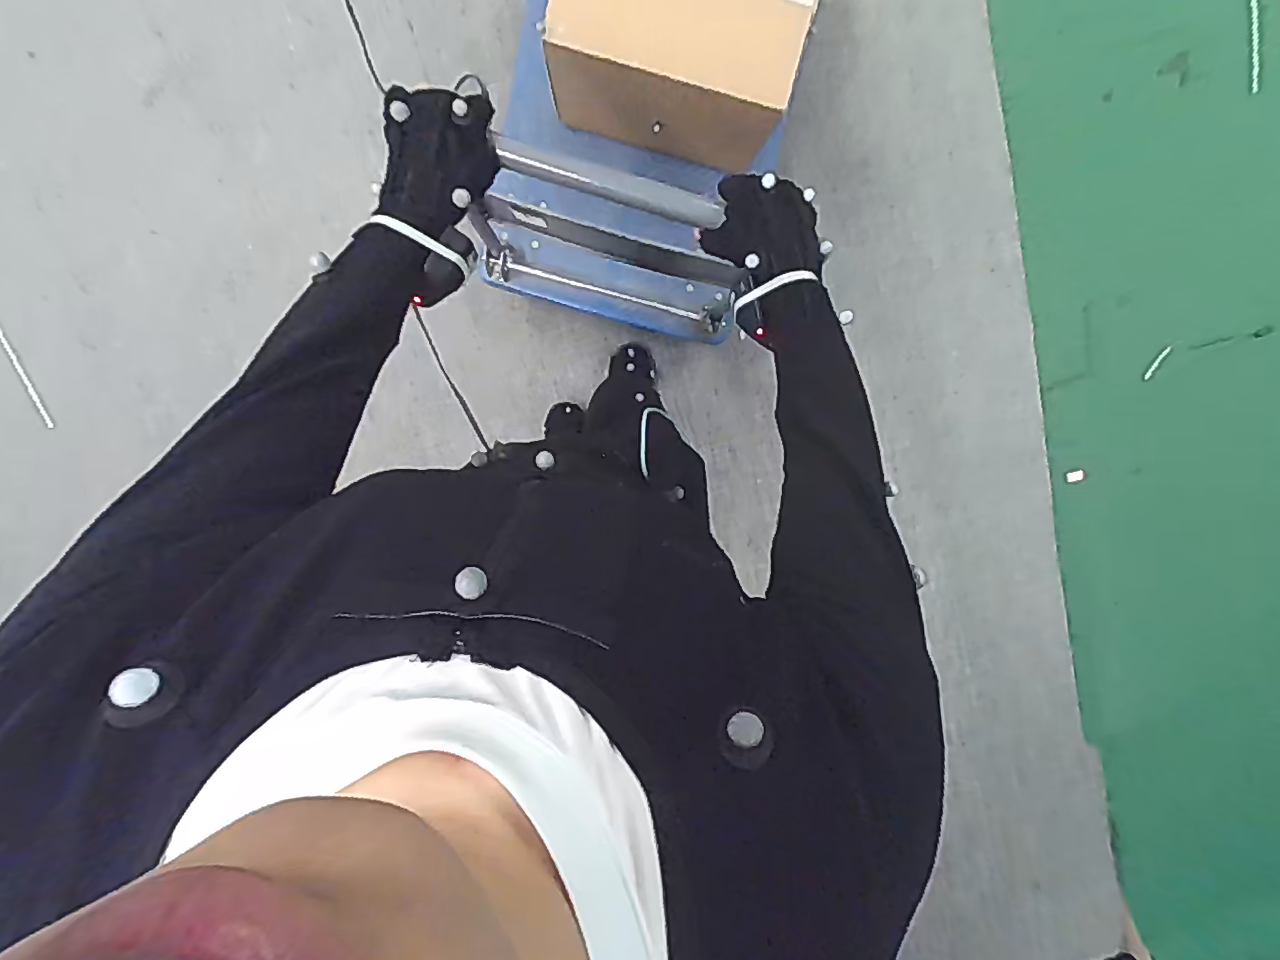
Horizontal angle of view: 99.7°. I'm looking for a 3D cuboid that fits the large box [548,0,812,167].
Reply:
[{"bbox_3d":[0.075,-0.825,0.985,0.408,0.320,0.320,12,101,-5],"label":"large box"}]
